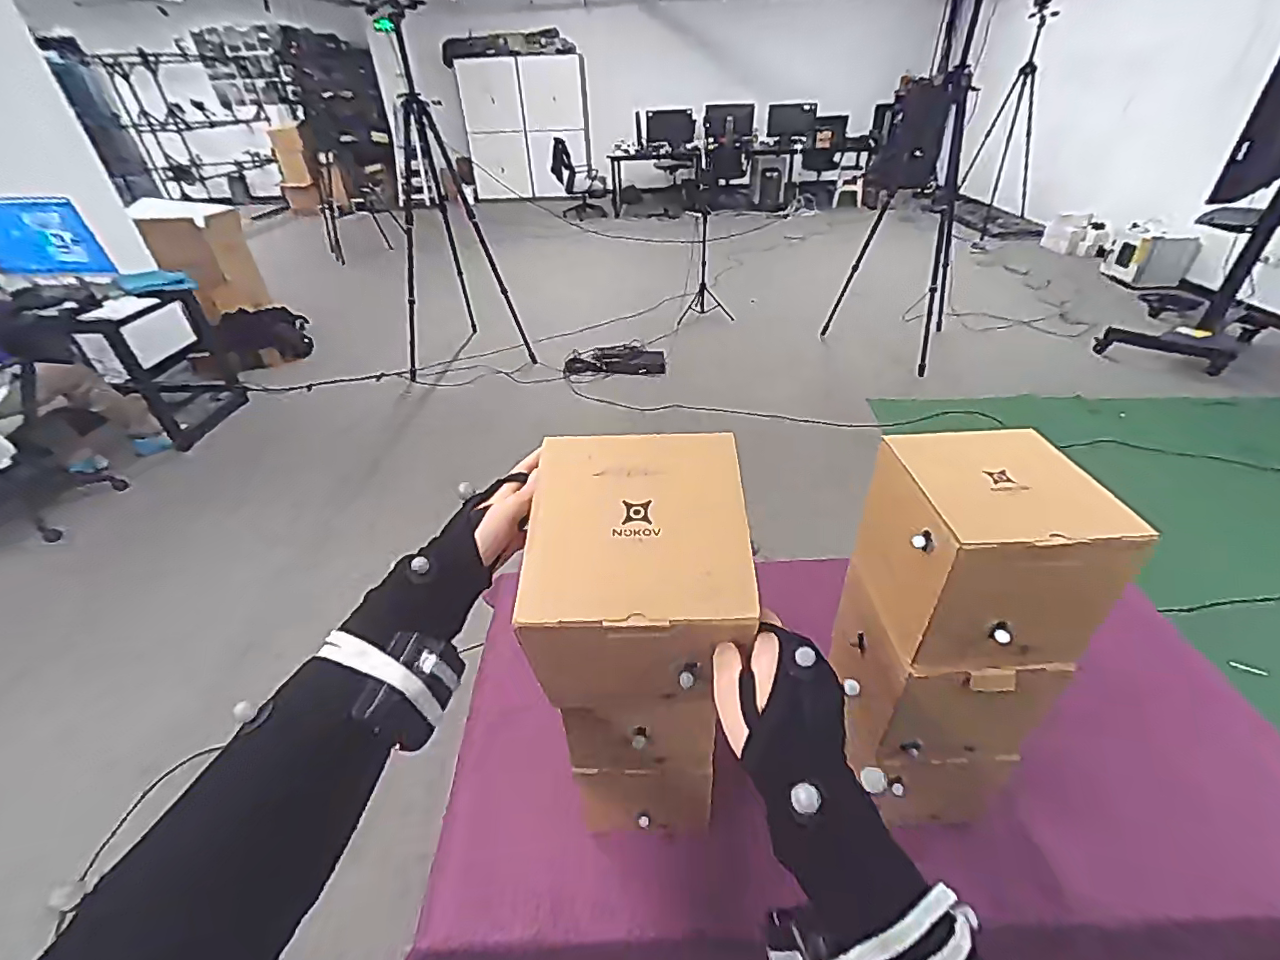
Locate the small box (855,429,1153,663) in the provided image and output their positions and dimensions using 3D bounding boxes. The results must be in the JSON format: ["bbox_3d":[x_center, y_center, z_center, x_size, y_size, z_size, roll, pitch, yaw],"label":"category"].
[{"bbox_3d":[0.343,0.064,0.560,0.168,0.176,0.179,-3,36,0],"label":"small box"}]

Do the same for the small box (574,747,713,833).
[{"bbox_3d":[0.007,0.352,0.743,0.168,0.176,0.179,-2,36,2],"label":"small box"}]

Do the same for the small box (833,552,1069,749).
[{"bbox_3d":[0.347,0.201,0.647,0.168,0.176,0.179,-3,35,0],"label":"small box"}]

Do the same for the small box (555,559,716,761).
[{"bbox_3d":[0.001,0.217,0.649,0.168,0.176,0.179,-1,36,1],"label":"small box"}]
